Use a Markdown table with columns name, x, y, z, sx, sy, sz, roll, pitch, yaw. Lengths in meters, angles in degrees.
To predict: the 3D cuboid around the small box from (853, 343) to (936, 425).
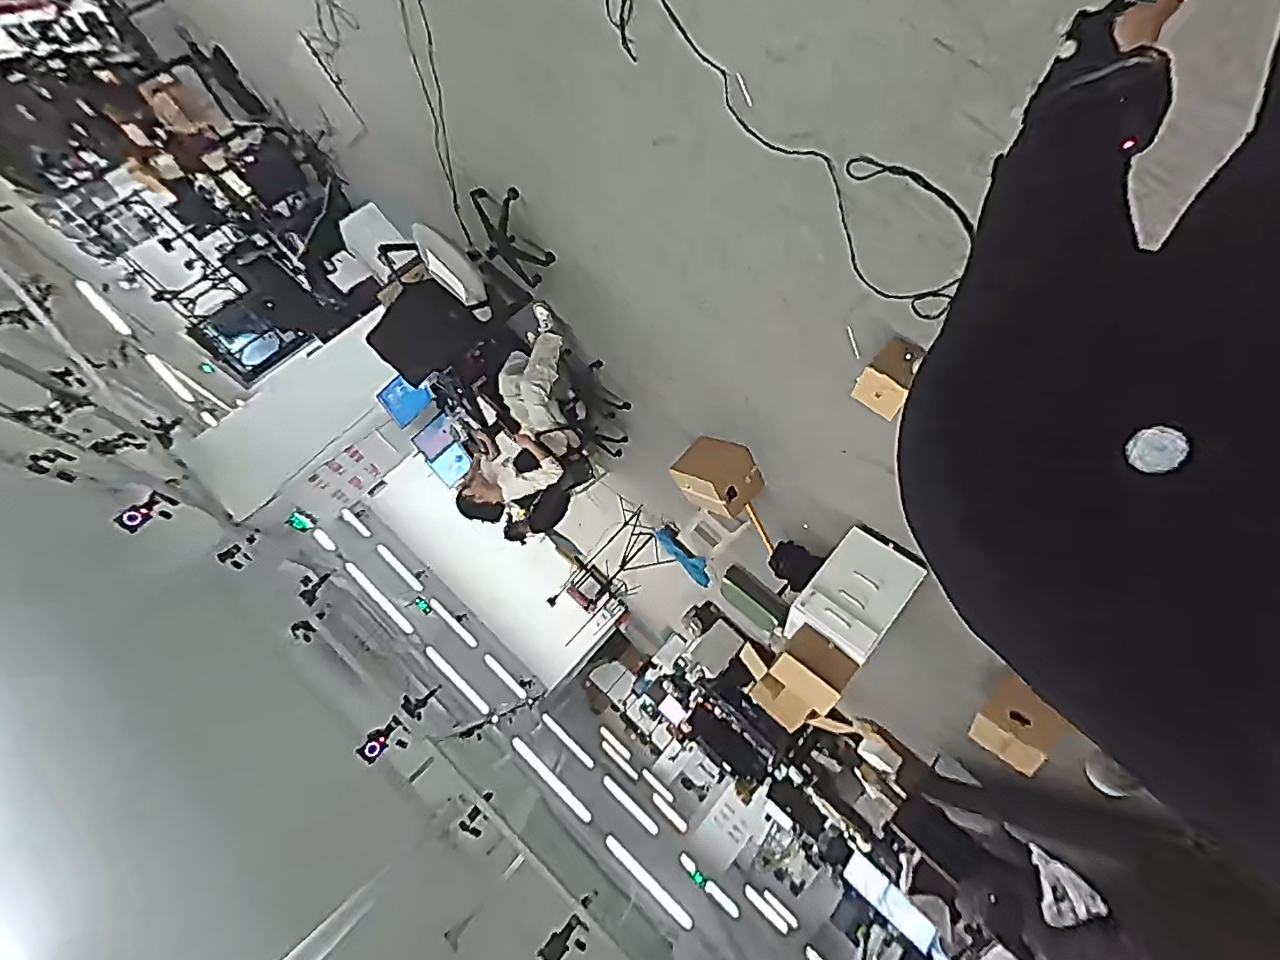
| name | x | y | z | sx | sy | sz | roll | pitch | yaw |
| --- | --- | --- | --- | --- | --- | --- | --- | --- | --- |
| small box | 0.869 | -0.329 | 1.843 | 0.168 | 0.176 | 0.179 | 39 | 162 | 18 |
